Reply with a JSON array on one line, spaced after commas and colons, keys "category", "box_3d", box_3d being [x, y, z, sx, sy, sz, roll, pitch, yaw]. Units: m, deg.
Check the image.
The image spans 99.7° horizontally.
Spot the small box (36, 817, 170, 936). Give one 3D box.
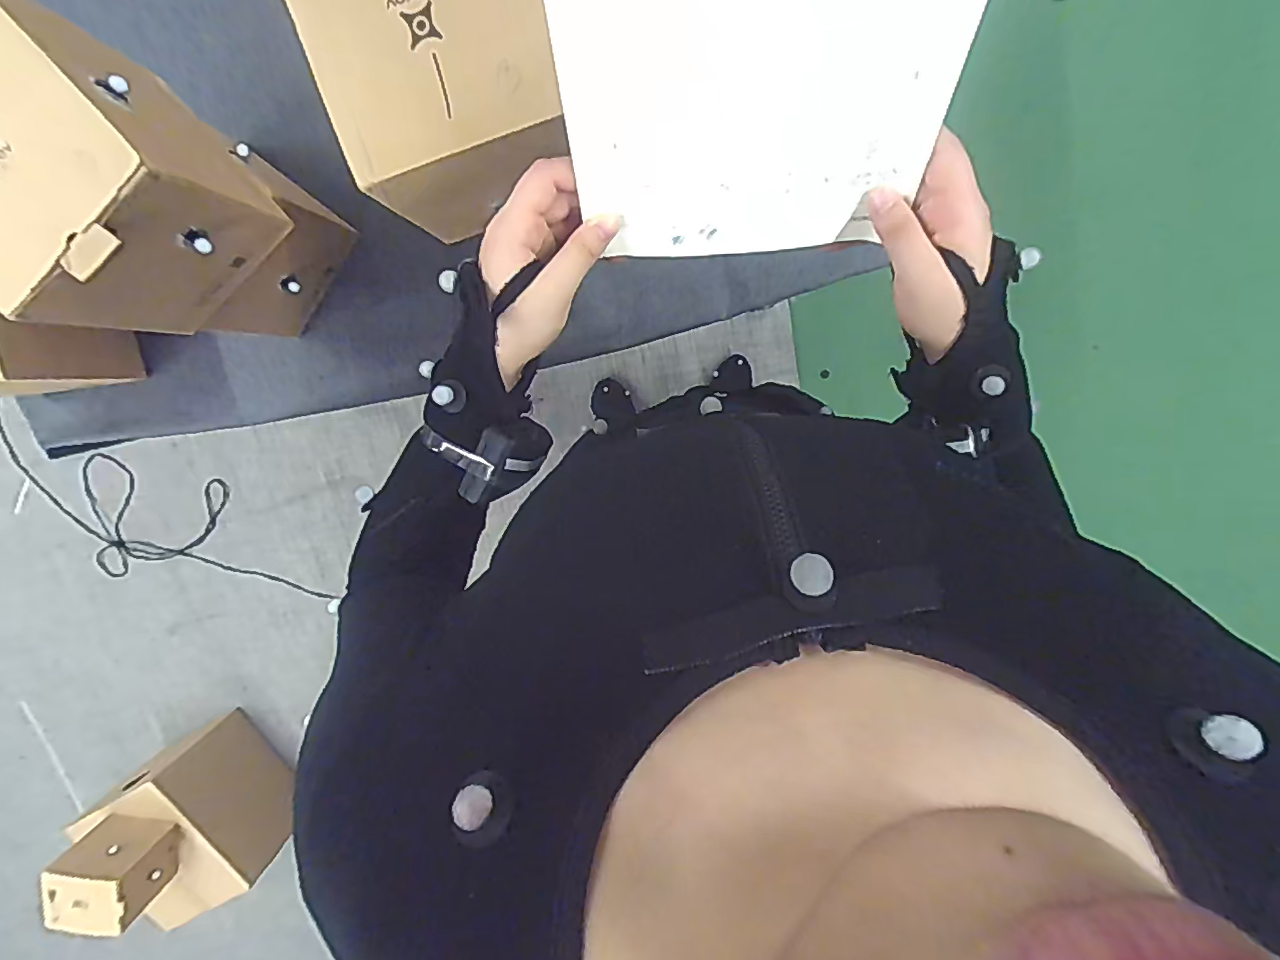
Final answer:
[{"category": "small box", "box_3d": [-1.310, 0.970, 1.334, 0.179, 0.176, 0.168, 9, 102, -3]}]

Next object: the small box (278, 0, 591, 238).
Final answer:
[{"category": "small box", "box_3d": [-0.147, -0.320, 0.429, 0.168, 0.176, 0.179, -16, 101, 5]}]

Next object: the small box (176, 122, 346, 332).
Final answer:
[{"category": "small box", "box_3d": [-0.480, -0.285, 0.611, 0.179, 0.176, 0.168, 37, 99, -6]}]

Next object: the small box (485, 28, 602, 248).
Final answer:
[{"category": "small box", "box_3d": [-0.148, -0.369, 0.587, 0.179, 0.176, 0.168, 17, 102, -2]}]

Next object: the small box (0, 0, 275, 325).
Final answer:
[{"category": "small box", "box_3d": [-0.465, -0.248, 0.452, 0.168, 0.176, 0.179, -40, 98, 7]}]
